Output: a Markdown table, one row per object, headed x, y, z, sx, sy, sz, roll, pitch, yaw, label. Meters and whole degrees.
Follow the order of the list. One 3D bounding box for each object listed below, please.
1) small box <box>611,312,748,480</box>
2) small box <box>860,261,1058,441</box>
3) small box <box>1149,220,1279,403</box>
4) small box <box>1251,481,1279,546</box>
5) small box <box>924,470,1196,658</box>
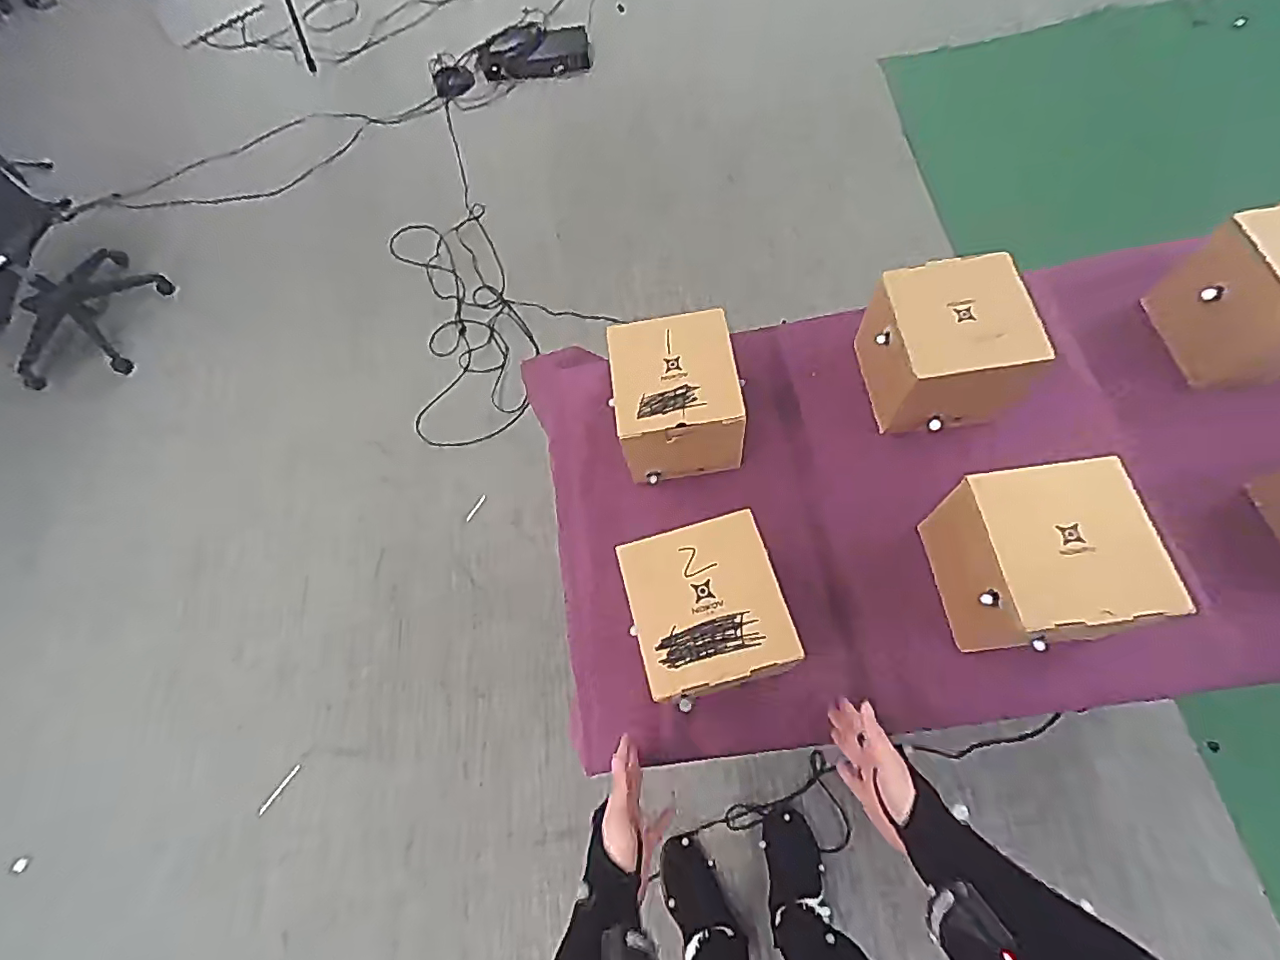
| x | y | z | sx | sy | sz | roll | pitch | yaw | label |
| --- | --- | --- | --- | --- | --- | --- | --- | --- | --- |
| 0.057 | -0.108 | 0.777 | 0.168 | 0.176 | 0.179 | -8 | 68 | 3 | small box |
| 0.428 | -0.174 | 0.763 | 0.168 | 0.176 | 0.179 | -7 | 69 | 5 | small box |
| 0.860 | -0.227 | 0.730 | 0.168 | 0.176 | 0.179 | -8 | 68 | 4 | small box |
| 0.885 | 0.053 | 0.612 | 0.168 | 0.176 | 0.179 | -10 | 68 | 4 | small box |
| 0.470 | 0.107 | 0.645 | 0.168 | 0.176 | 0.179 | -7 | 67 | 3 | small box |
